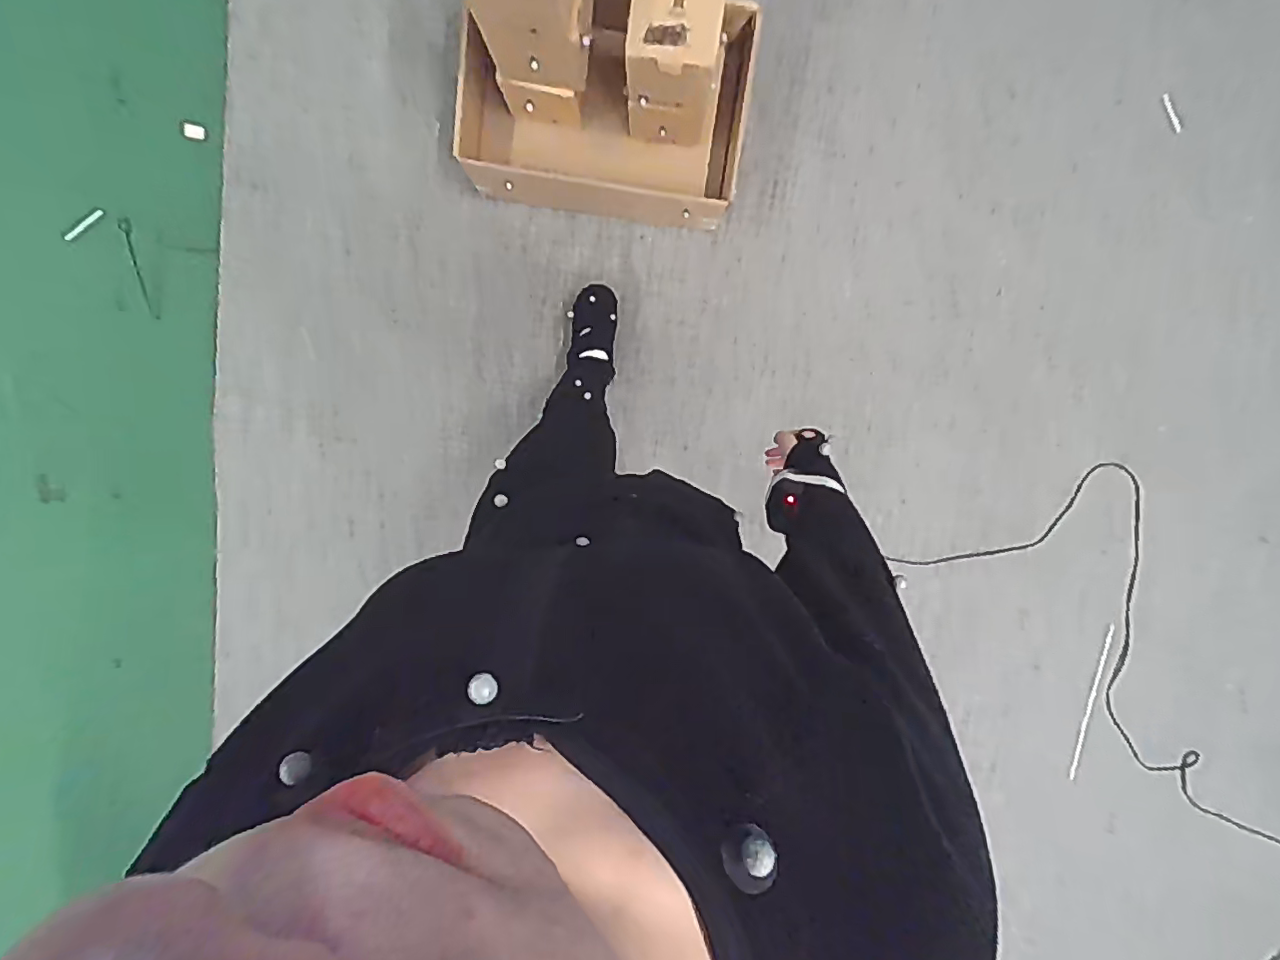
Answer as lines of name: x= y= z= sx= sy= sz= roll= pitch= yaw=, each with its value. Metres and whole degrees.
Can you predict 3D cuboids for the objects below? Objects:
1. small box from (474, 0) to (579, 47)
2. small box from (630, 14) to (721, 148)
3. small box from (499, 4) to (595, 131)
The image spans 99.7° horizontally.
small box: x=-0.184 y=-0.851 z=0.861 sx=0.168 sy=0.176 sz=0.179 roll=10 pitch=99 yaw=-2
small box: x=0.074 y=-0.865 z=1.190 sx=0.168 sy=0.176 sz=0.179 roll=8 pitch=100 yaw=-1
small box: x=-0.196 y=-0.905 z=1.185 sx=0.168 sy=0.176 sz=0.179 roll=12 pitch=99 yaw=-3
